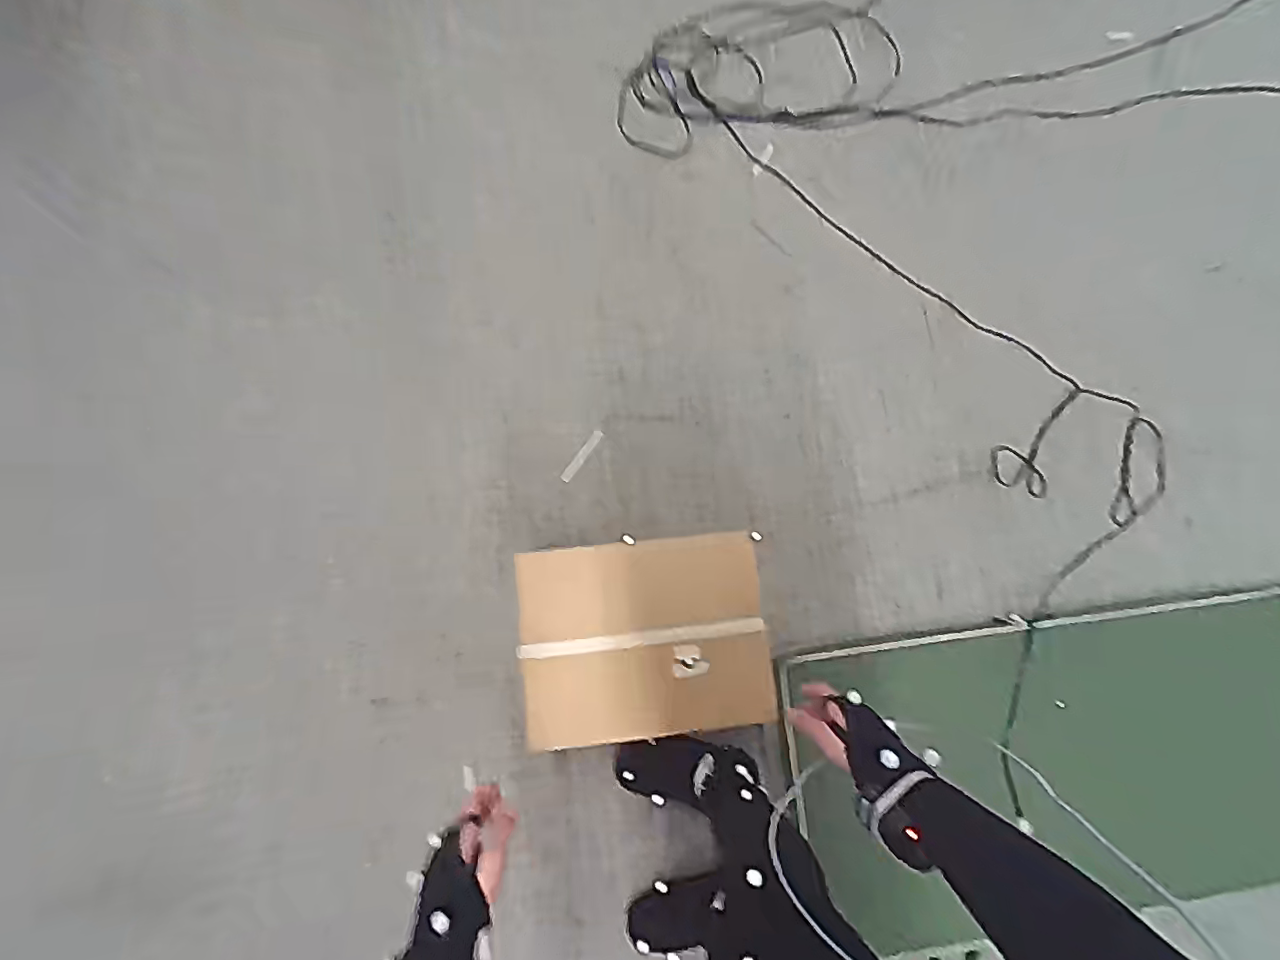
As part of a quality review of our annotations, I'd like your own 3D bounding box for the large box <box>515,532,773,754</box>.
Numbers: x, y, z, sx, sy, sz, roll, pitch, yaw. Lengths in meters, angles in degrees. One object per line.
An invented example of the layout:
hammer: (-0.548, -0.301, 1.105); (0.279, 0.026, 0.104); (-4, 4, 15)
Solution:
large box: (-0.008, 0.287, 1.036); (0.408, 0.320, 0.320); (-5, 81, -6)
